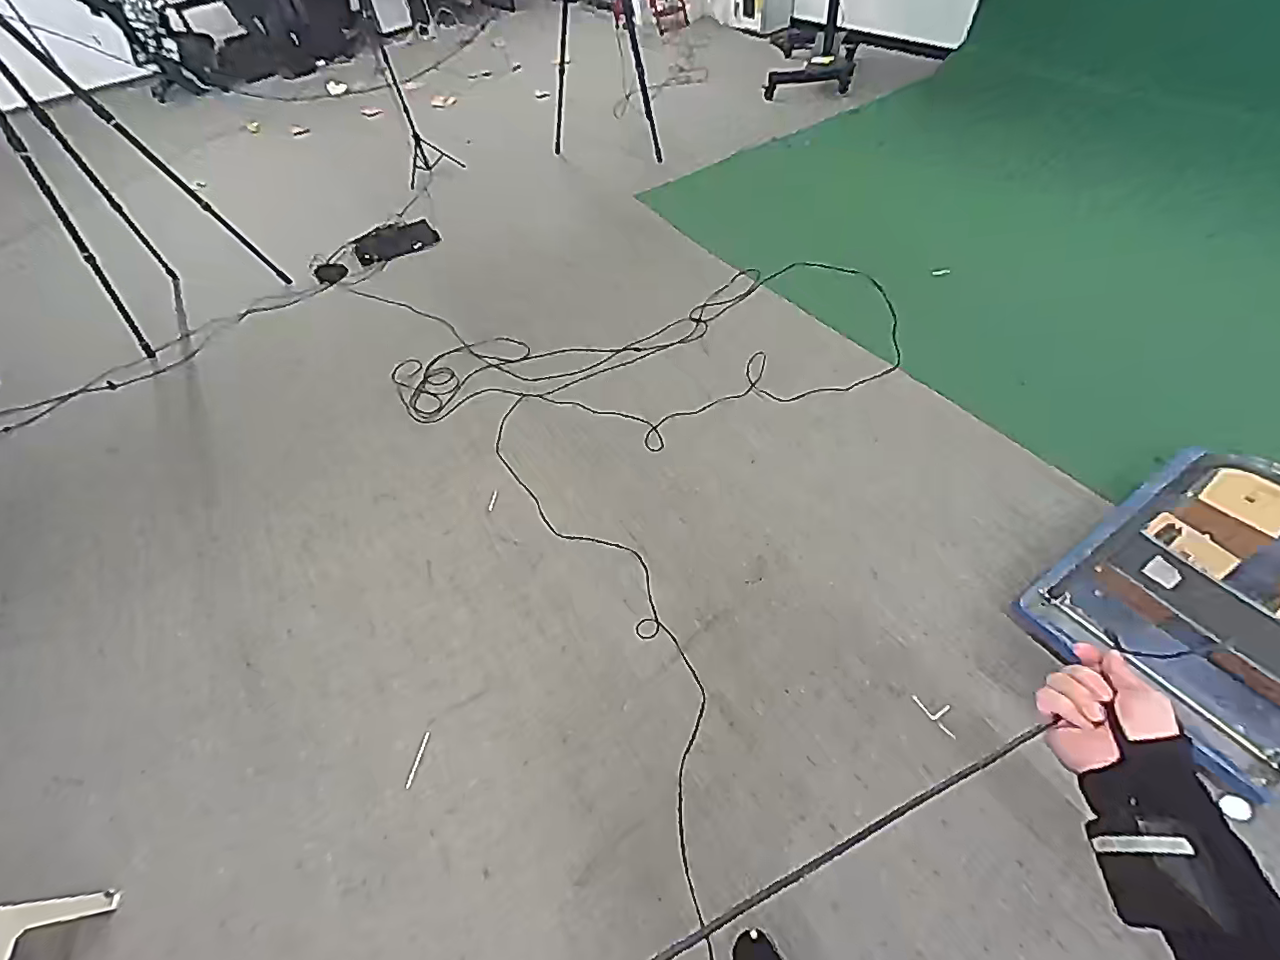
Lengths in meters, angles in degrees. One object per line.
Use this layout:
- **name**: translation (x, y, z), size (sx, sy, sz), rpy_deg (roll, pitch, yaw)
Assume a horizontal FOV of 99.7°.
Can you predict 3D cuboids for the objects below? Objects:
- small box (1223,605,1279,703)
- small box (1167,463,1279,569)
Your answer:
- **small box**: translation (1.467, 0.377, 1.189), size (0.179, 0.176, 0.168), rpy_deg (-31, 54, -14)
- **small box**: translation (1.534, 0.097, 1.398), size (0.179, 0.176, 0.168), rpy_deg (-35, 56, -18)
